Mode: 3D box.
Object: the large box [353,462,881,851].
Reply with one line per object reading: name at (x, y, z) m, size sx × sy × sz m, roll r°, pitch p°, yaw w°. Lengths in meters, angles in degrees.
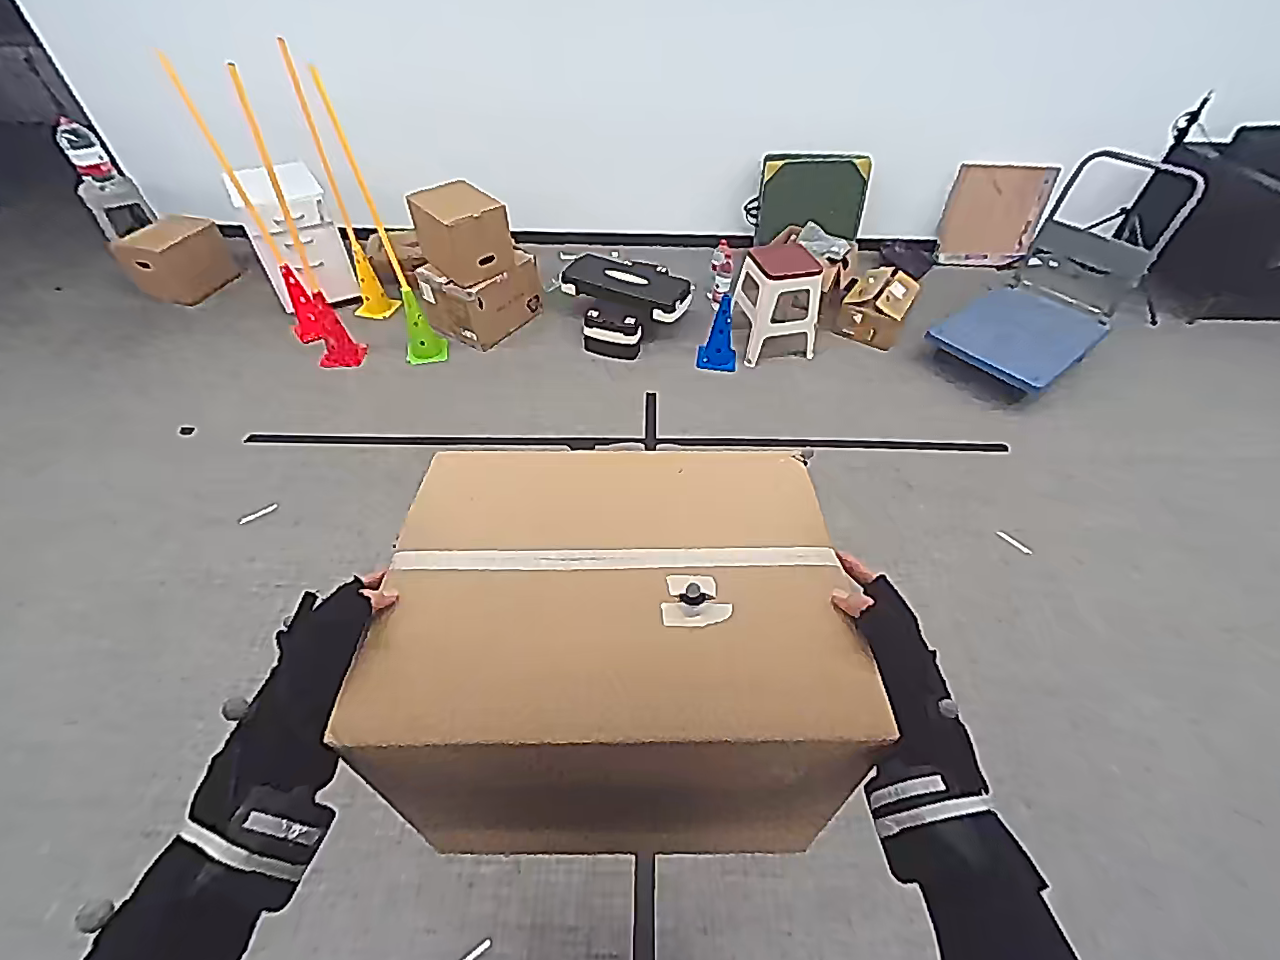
large box at (-0.020, 0.193, 0.609) m, size 0.408 × 0.320 × 0.320 m, roll 0°, pitch 43°, yaw -1°
